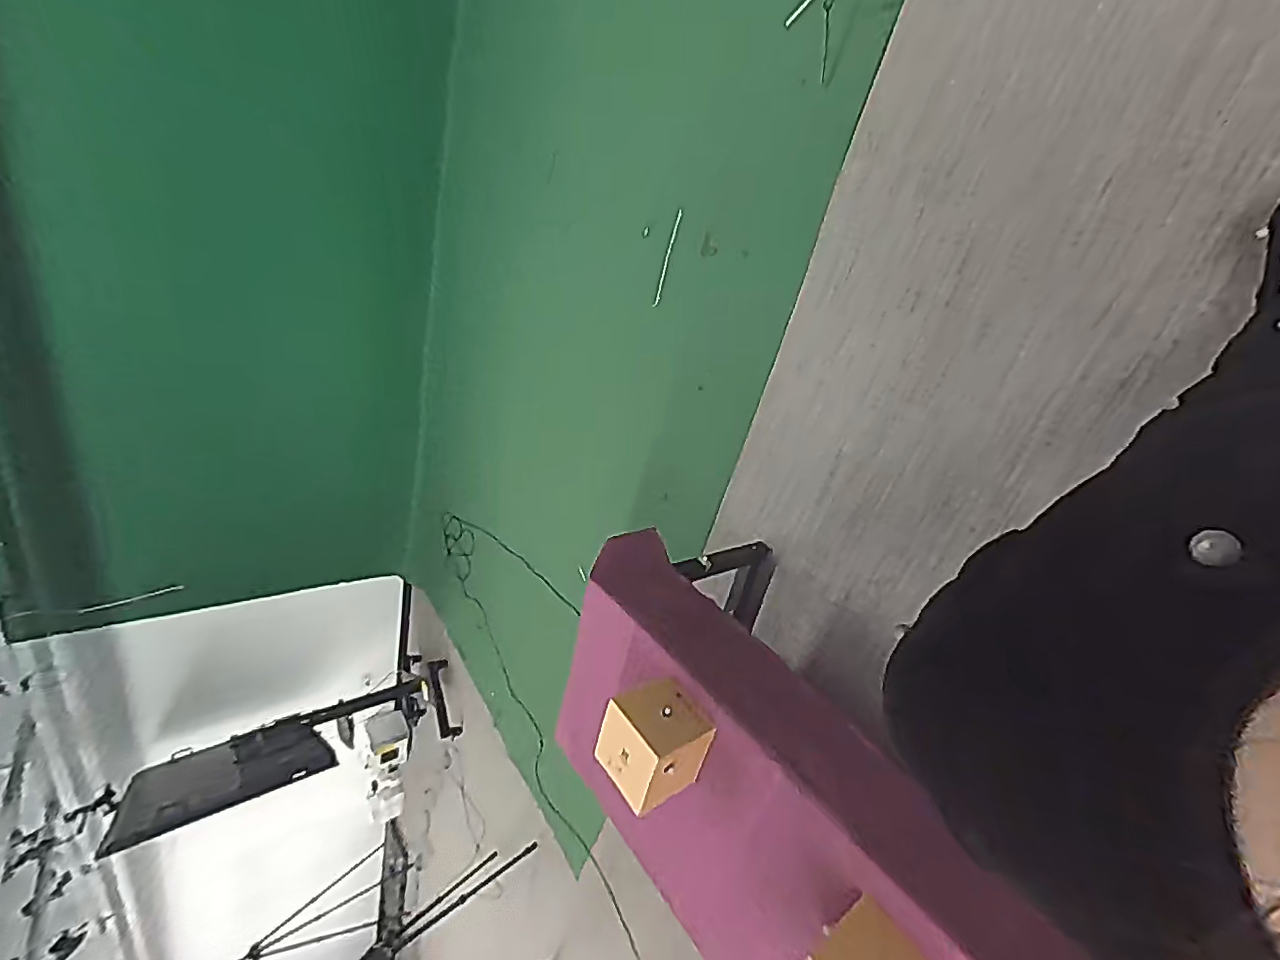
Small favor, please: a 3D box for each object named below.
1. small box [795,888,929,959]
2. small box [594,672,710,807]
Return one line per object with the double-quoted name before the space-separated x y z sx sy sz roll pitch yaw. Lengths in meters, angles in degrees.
"small box" 0.342 0.793 0.831 0.179 0.176 0.168 37 122 42
"small box" 0.028 0.552 1.174 0.168 0.176 0.179 38 123 41
